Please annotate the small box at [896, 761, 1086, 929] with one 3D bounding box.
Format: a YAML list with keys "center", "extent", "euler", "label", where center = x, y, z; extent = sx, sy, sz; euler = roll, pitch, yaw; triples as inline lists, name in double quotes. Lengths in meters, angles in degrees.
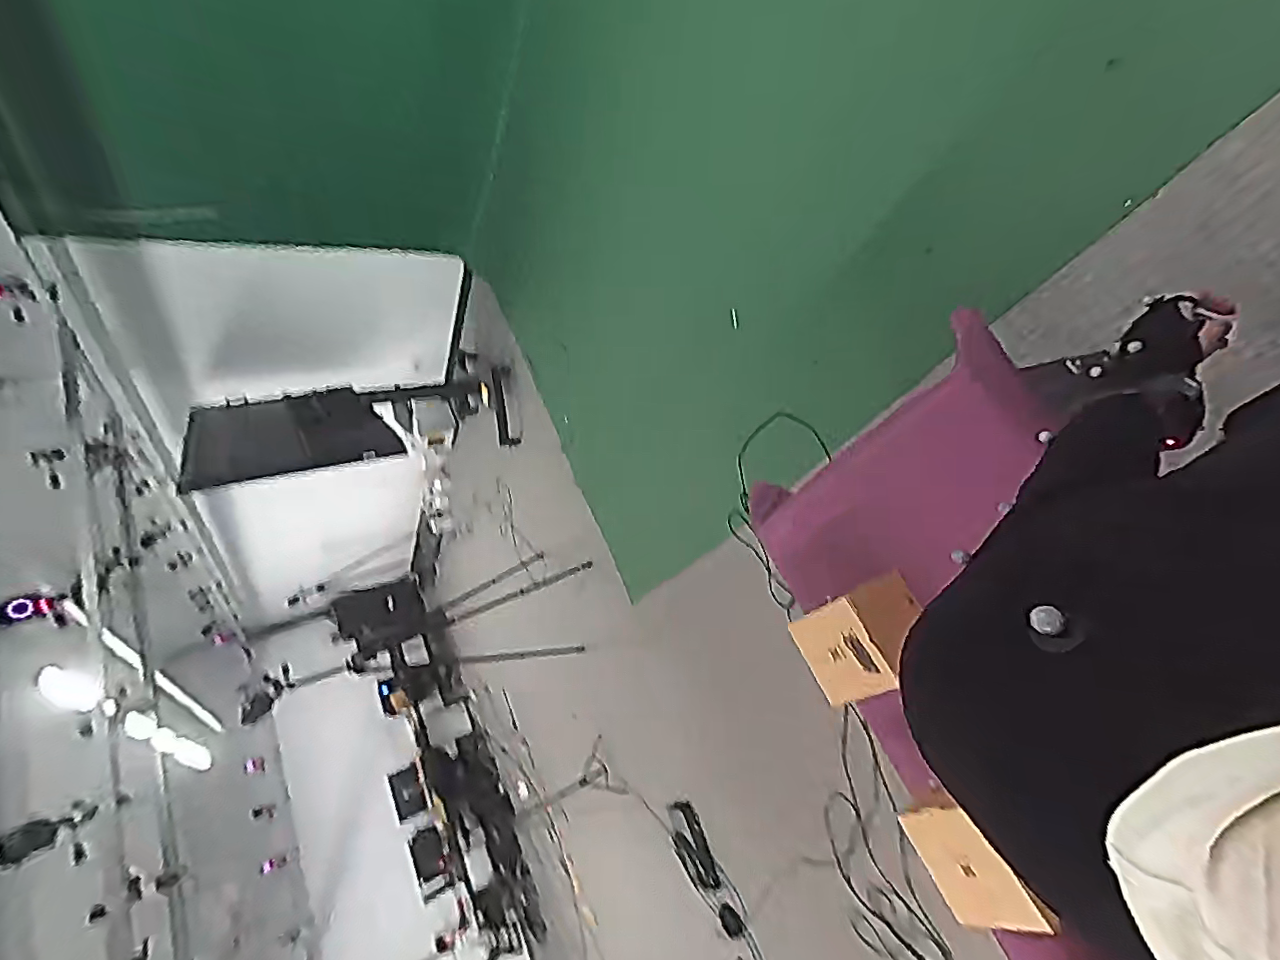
- center: [0.581, 0.595, 0.903]
  extent: [0.179, 0.176, 0.168]
  euler: [61, 144, 21]
  label: "small box"

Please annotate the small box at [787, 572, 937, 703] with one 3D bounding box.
- center: [0.425, 0.296, 1.026]
  extent: [0.168, 0.176, 0.179]
  euler: [63, 145, 20]
  label: "small box"
